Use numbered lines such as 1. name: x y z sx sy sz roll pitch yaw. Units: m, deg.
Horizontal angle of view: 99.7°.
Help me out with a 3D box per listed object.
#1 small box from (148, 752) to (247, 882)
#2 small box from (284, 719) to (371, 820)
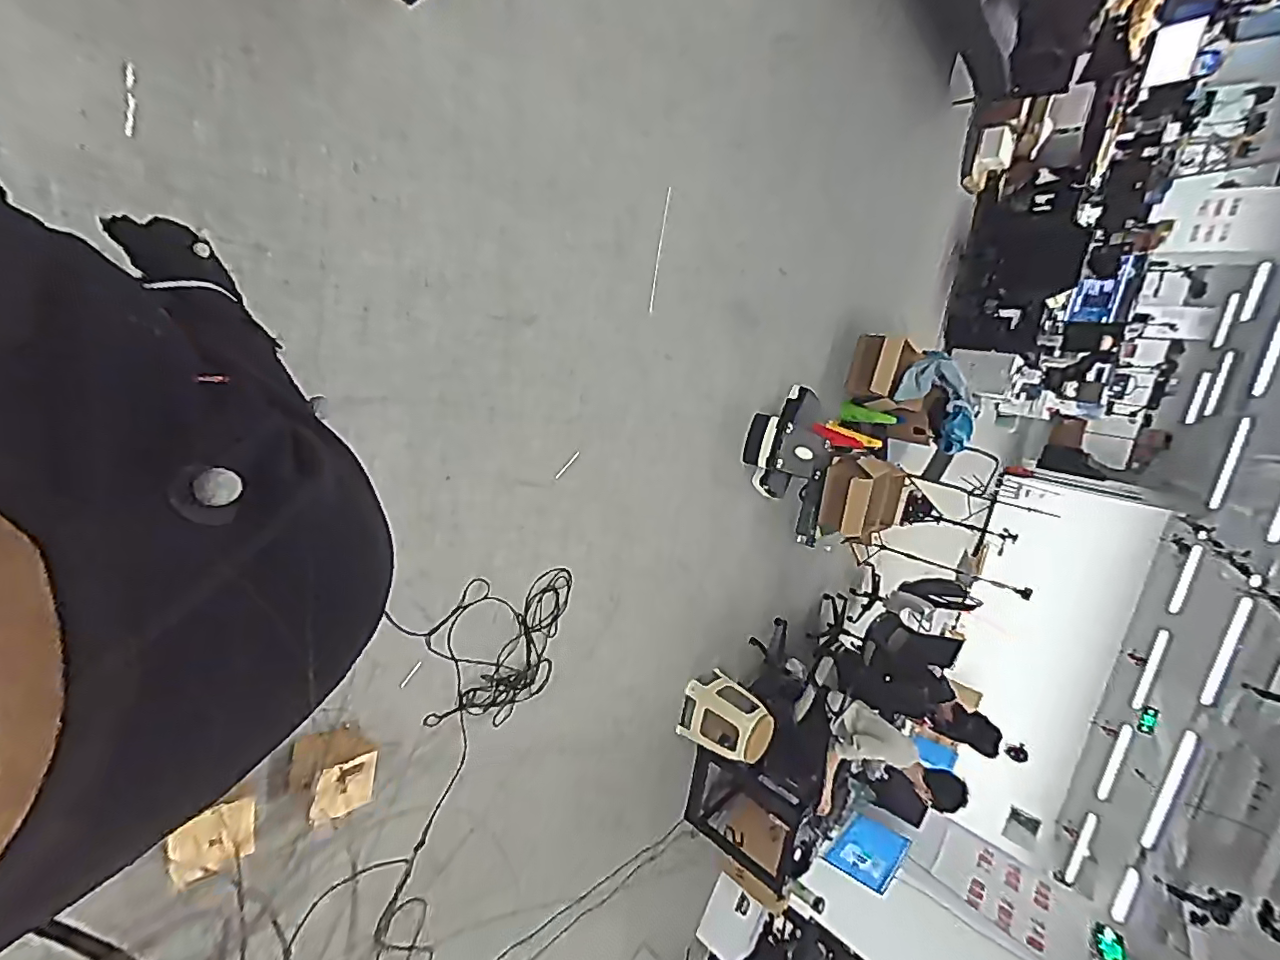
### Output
1. small box: -1.091 0.819 1.335 0.168 0.176 0.179 -6 109 -49
2. small box: -0.903 0.818 1.557 0.168 0.176 0.179 1 104 -50
